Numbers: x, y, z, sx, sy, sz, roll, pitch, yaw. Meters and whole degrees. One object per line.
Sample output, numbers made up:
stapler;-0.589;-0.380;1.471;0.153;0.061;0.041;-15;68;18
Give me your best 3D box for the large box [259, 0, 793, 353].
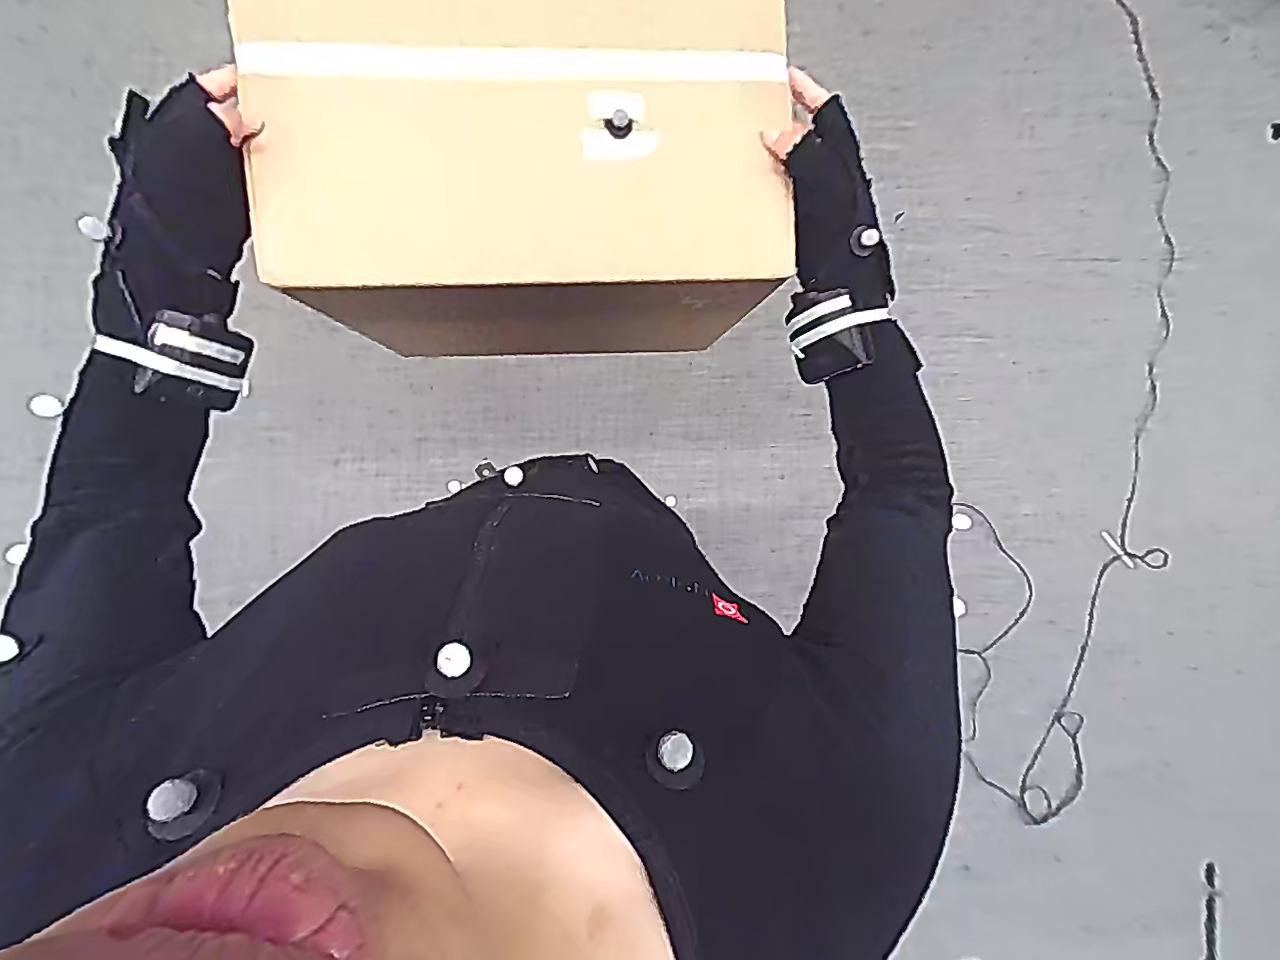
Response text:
large box;-0.098;-0.323;0.565;0.408;0.320;0.320;-4;94;-6
